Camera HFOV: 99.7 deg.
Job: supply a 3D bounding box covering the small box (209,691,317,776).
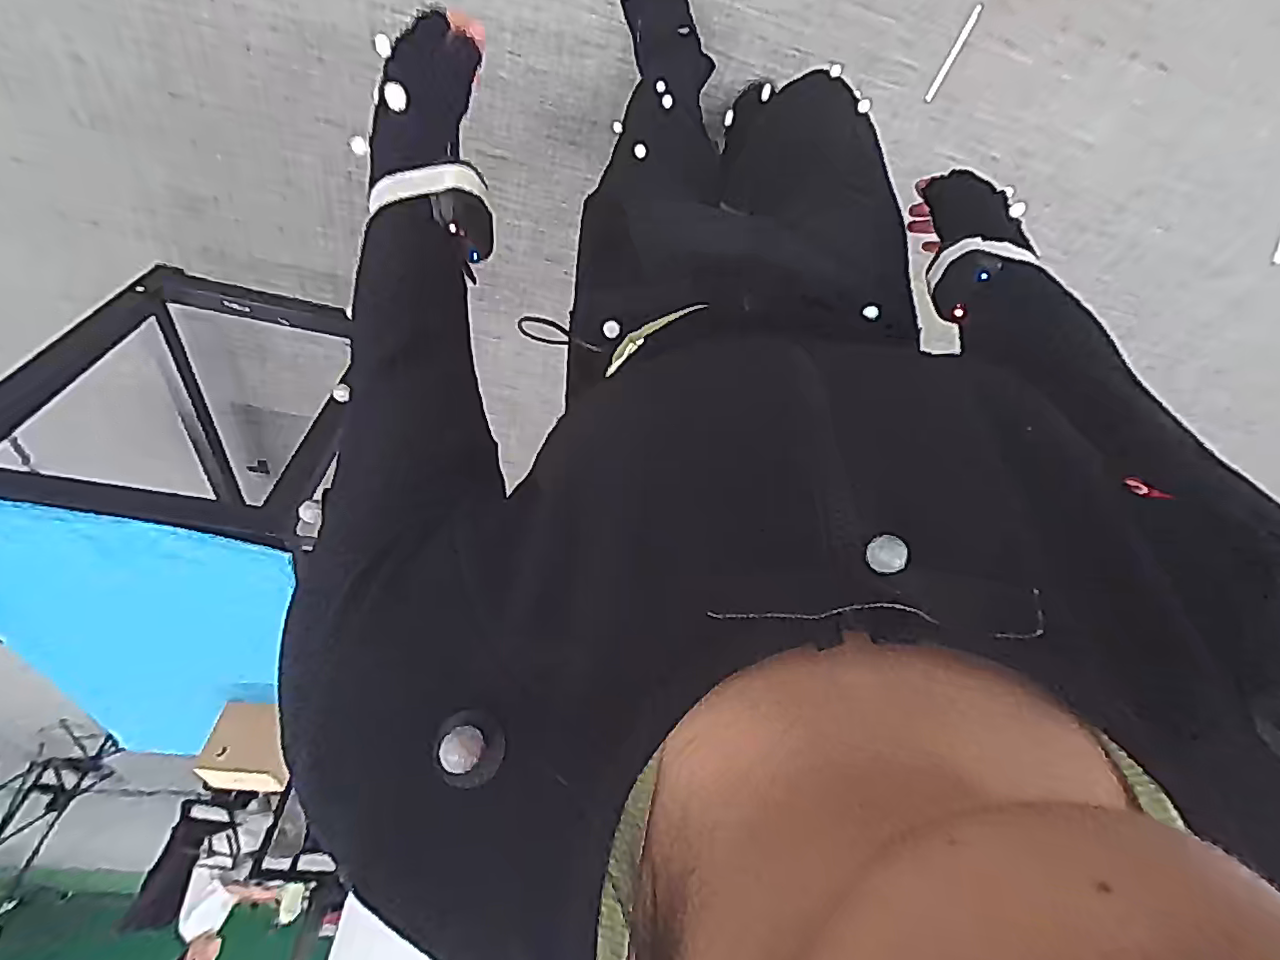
[{"bbox_3d":[-1.013,0.688,1.470,0.179,0.176,0.168,10,137,-13],"label":"small box"}]
